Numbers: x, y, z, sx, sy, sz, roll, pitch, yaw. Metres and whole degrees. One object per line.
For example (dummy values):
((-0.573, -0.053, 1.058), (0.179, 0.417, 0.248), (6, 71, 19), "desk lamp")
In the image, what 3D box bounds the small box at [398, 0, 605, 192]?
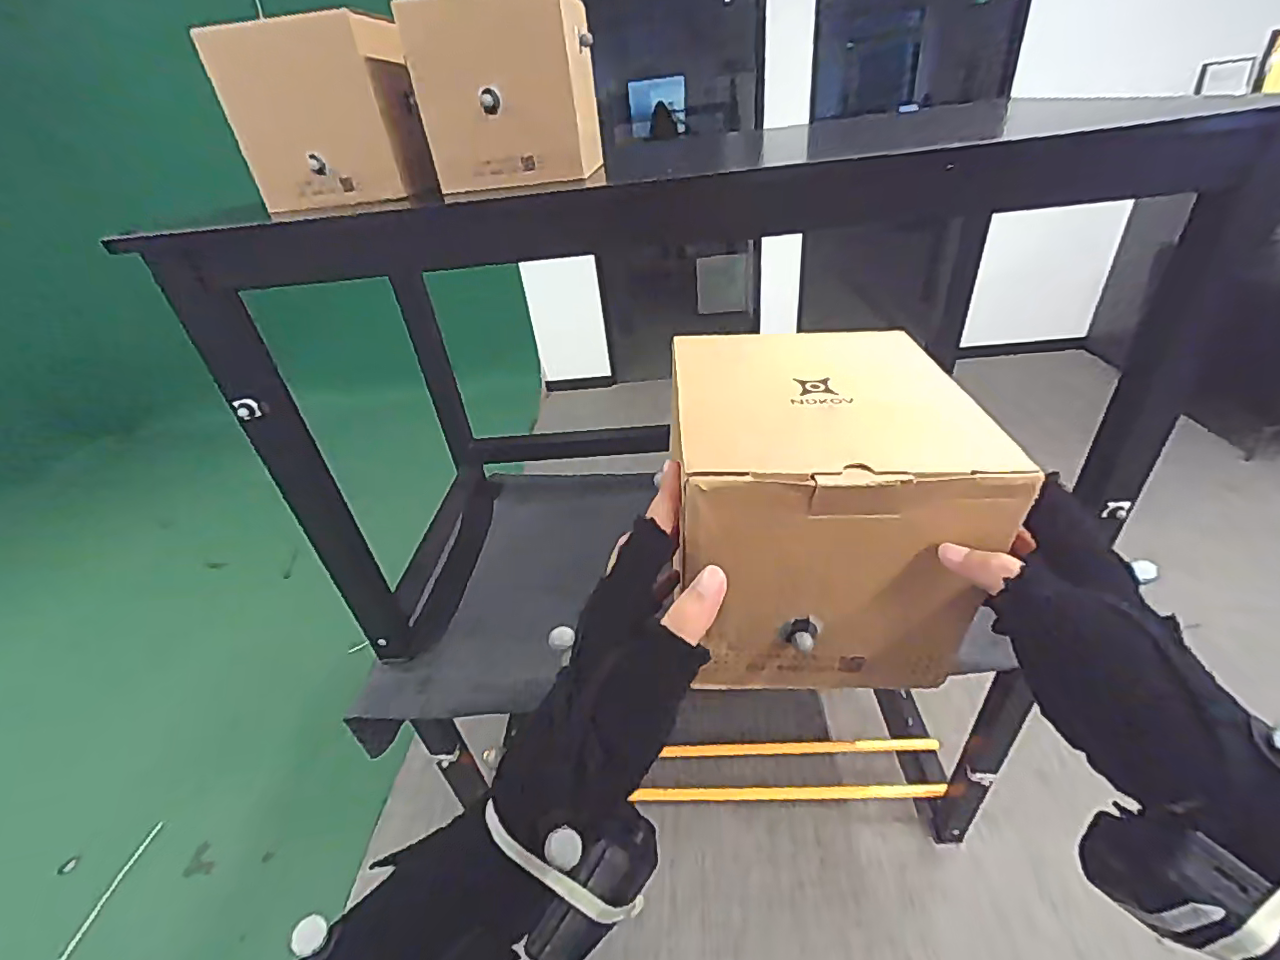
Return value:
((-0.136, -0.433, 0.615), (0.168, 0.176, 0.179), (-2, 34, 6), "small box")

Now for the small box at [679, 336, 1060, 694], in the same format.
((0.112, 0.015, 0.361), (0.168, 0.176, 0.179), (-1, 37, 2), "small box")
